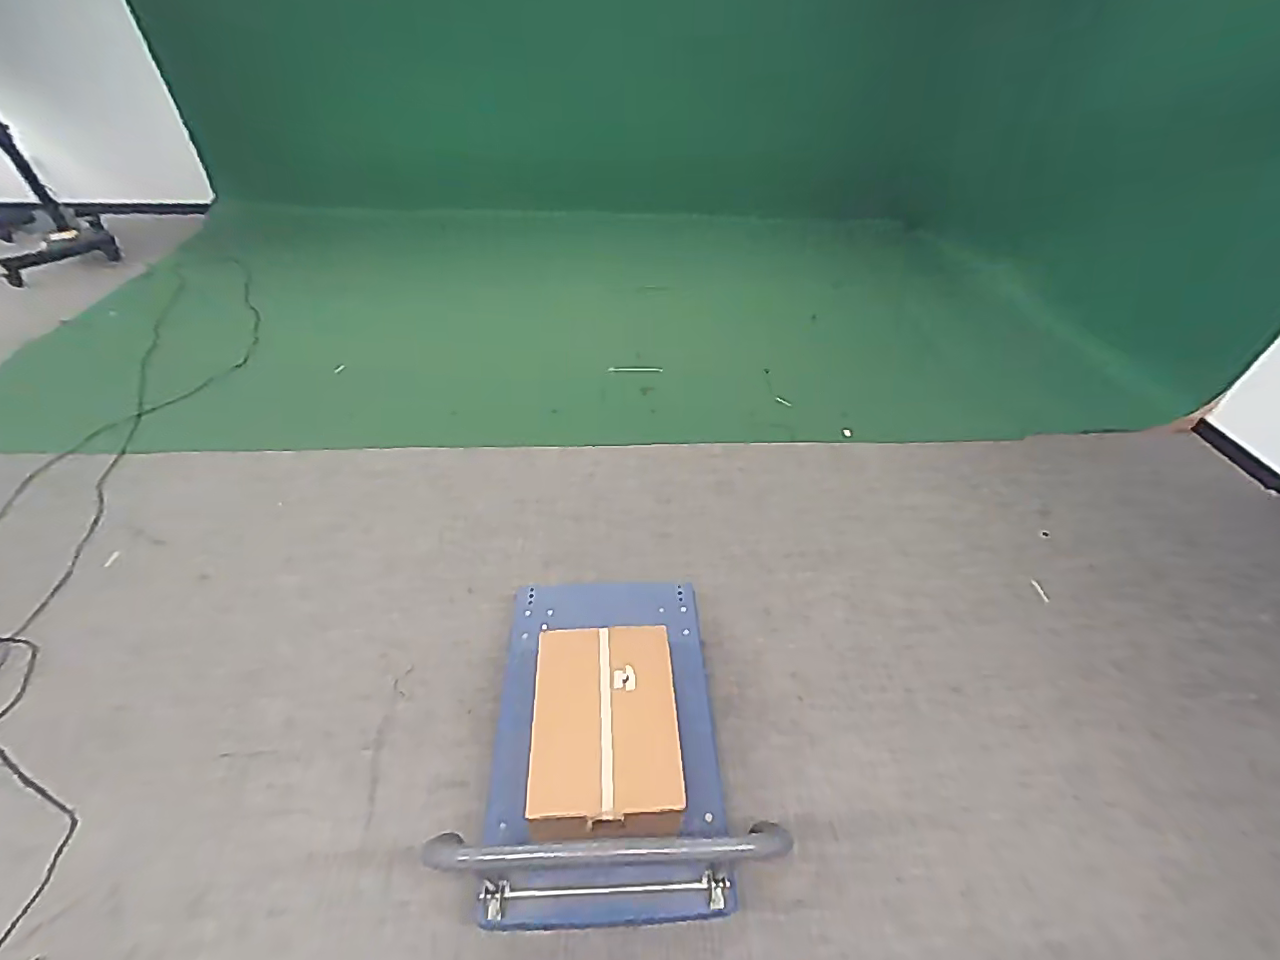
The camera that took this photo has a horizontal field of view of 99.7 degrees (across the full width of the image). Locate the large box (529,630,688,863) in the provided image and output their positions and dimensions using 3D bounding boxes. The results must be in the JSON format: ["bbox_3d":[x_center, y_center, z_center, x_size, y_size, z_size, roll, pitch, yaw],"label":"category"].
[{"bbox_3d":[-0.077,0.619,1.278,0.320,0.320,0.408,-1,43,-4],"label":"large box"}]
